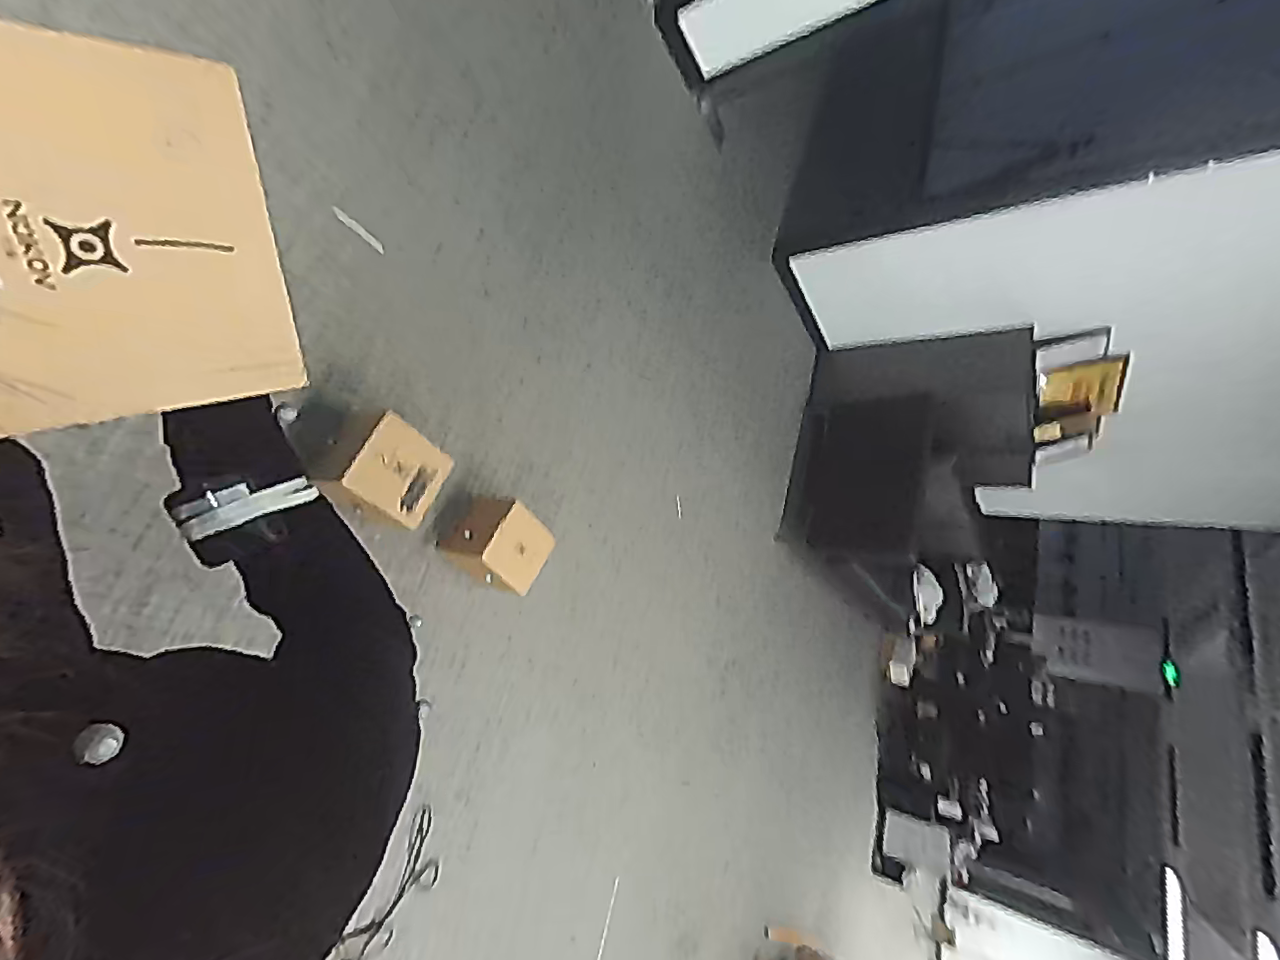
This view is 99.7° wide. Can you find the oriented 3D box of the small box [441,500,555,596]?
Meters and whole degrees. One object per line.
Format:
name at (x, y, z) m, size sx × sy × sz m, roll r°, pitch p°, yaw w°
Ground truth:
small box at (-0.351, 0.163, 1.332) m, size 0.179 × 0.176 × 0.168 m, roll 57°, pitch 49°, yaw -39°
